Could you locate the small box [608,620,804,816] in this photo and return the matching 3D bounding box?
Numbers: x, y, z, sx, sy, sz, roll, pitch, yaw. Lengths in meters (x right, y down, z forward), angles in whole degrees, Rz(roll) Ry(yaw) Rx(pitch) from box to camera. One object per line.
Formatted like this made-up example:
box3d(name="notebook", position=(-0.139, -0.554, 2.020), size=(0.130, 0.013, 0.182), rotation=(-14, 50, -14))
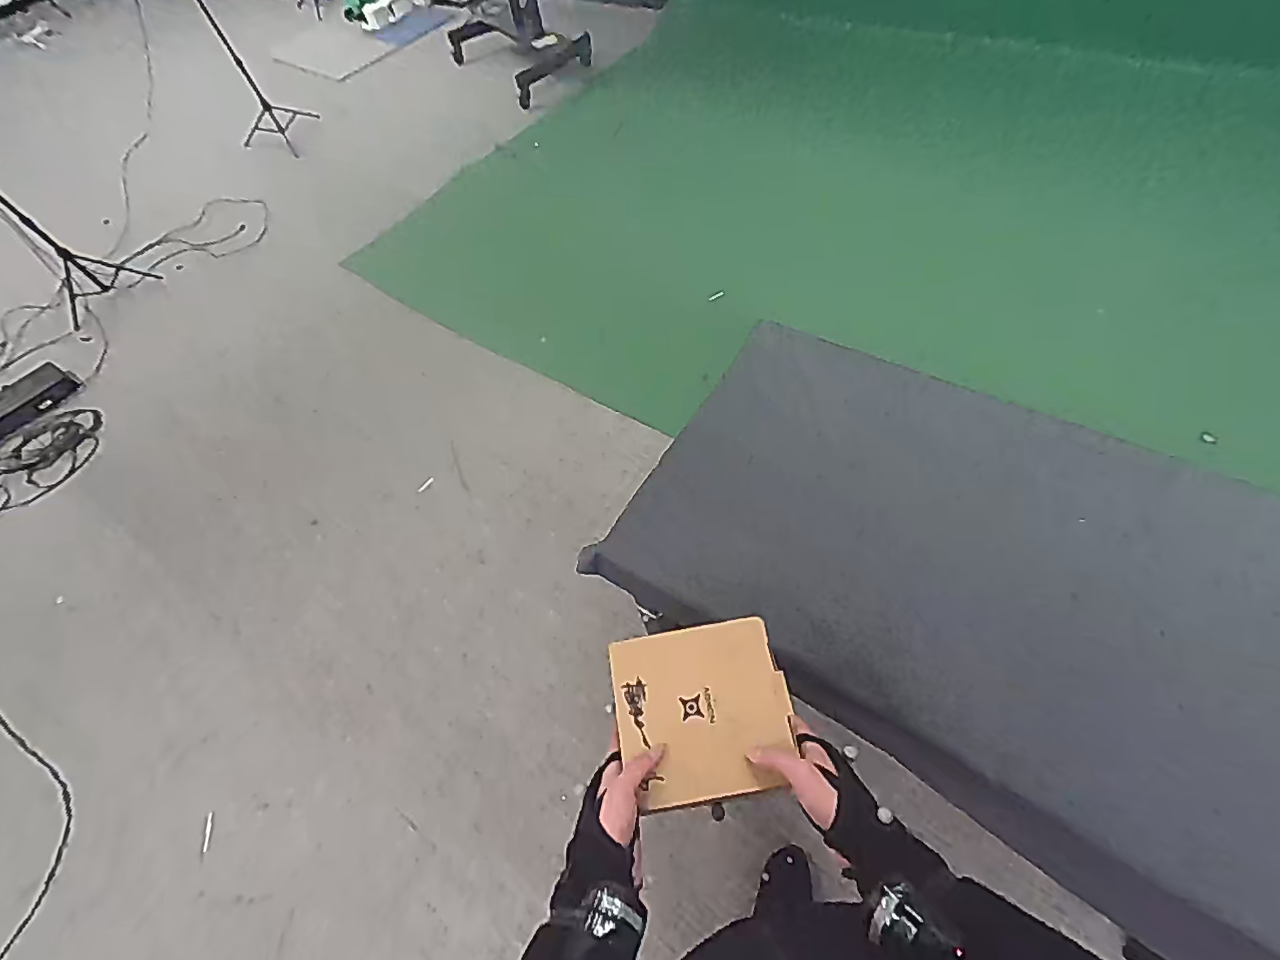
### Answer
box3d(name="small box", position=(0.066, 0.275, 0.617), size=(0.179, 0.176, 0.168), rotation=(-10, 58, 0))
